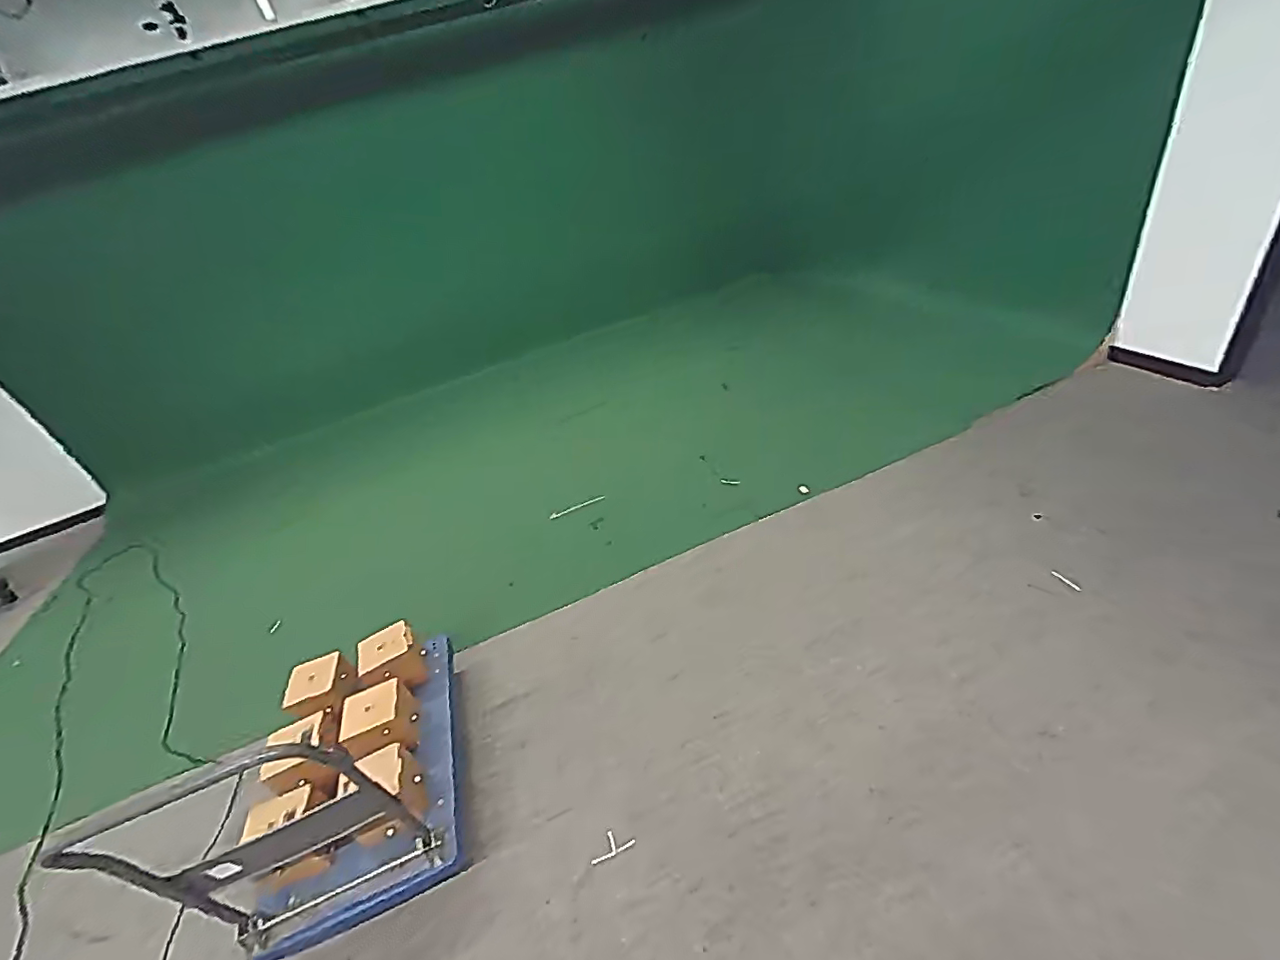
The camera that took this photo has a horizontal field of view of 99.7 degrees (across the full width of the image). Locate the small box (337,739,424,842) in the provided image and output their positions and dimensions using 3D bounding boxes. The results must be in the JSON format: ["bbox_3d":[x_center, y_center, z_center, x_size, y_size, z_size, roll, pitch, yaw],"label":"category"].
[{"bbox_3d":[-0.739,0.897,1.560,0.179,0.176,0.168,-23,36,-10],"label":"small box"}]

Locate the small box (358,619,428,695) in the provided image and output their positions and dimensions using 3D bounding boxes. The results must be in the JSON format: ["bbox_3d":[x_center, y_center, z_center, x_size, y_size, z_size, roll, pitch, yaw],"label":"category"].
[{"bbox_3d":[-0.890,0.645,1.960,0.179,0.176,0.168,-21,38,-8],"label":"small box"}]

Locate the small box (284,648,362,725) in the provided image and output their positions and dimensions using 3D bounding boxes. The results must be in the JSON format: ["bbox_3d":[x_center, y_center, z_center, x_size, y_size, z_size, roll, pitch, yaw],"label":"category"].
[{"bbox_3d":[-1.121,0.742,1.927,0.168,0.176,0.179,-19,36,-6],"label":"small box"}]

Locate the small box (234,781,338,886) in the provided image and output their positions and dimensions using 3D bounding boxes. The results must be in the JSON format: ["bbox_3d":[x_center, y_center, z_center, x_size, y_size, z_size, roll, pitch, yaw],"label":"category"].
[{"bbox_3d":[-0.980,0.995,1.523,0.179,0.176,0.168,-21,35,-6],"label":"small box"}]
